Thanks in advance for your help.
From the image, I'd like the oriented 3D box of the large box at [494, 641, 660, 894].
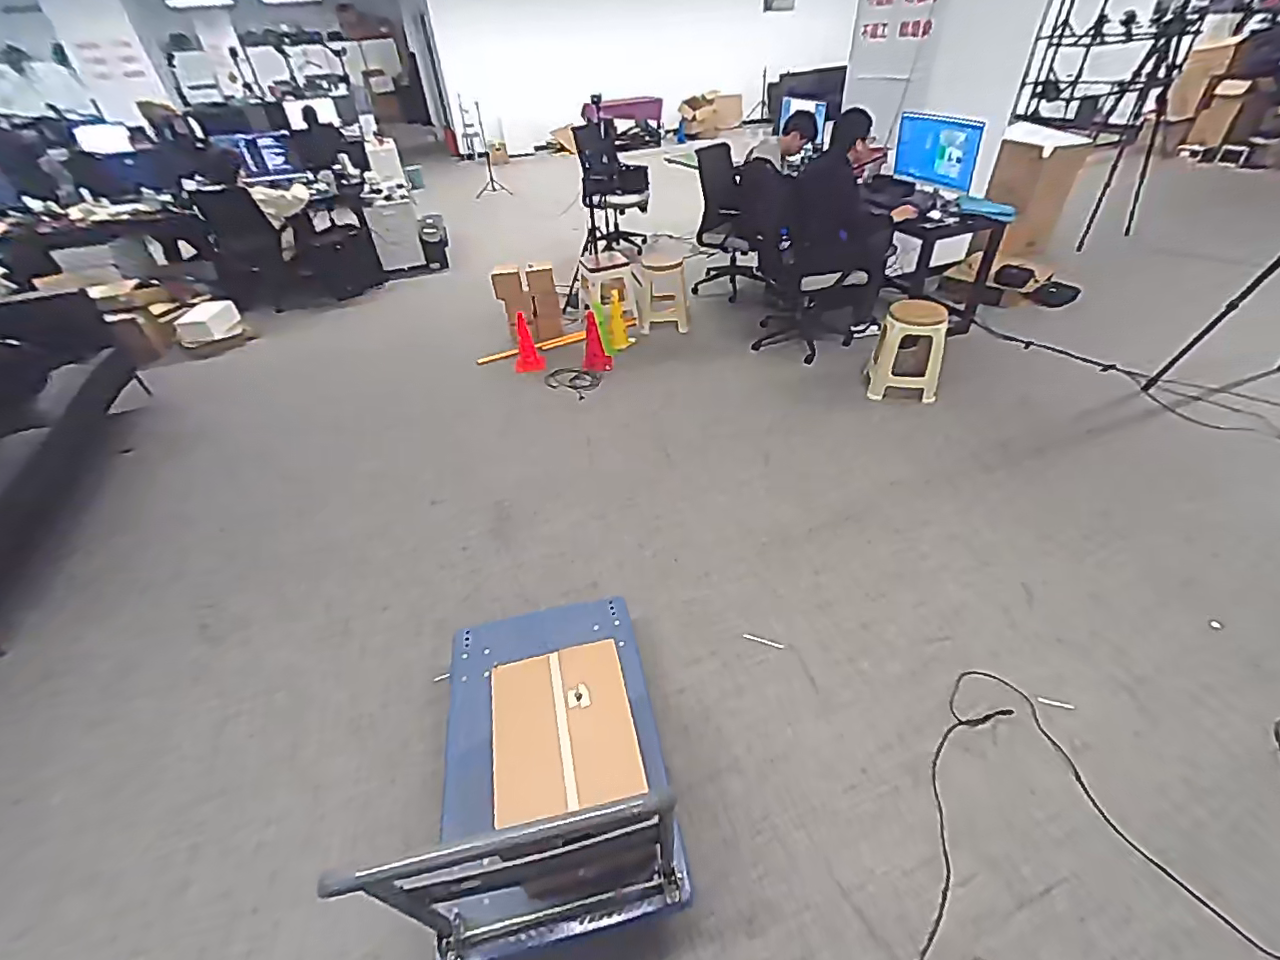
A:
[{"bbox_3d":[-0.155,0.671,1.292,0.320,0.320,0.408,-10,40,-8],"label":"large box"}]
